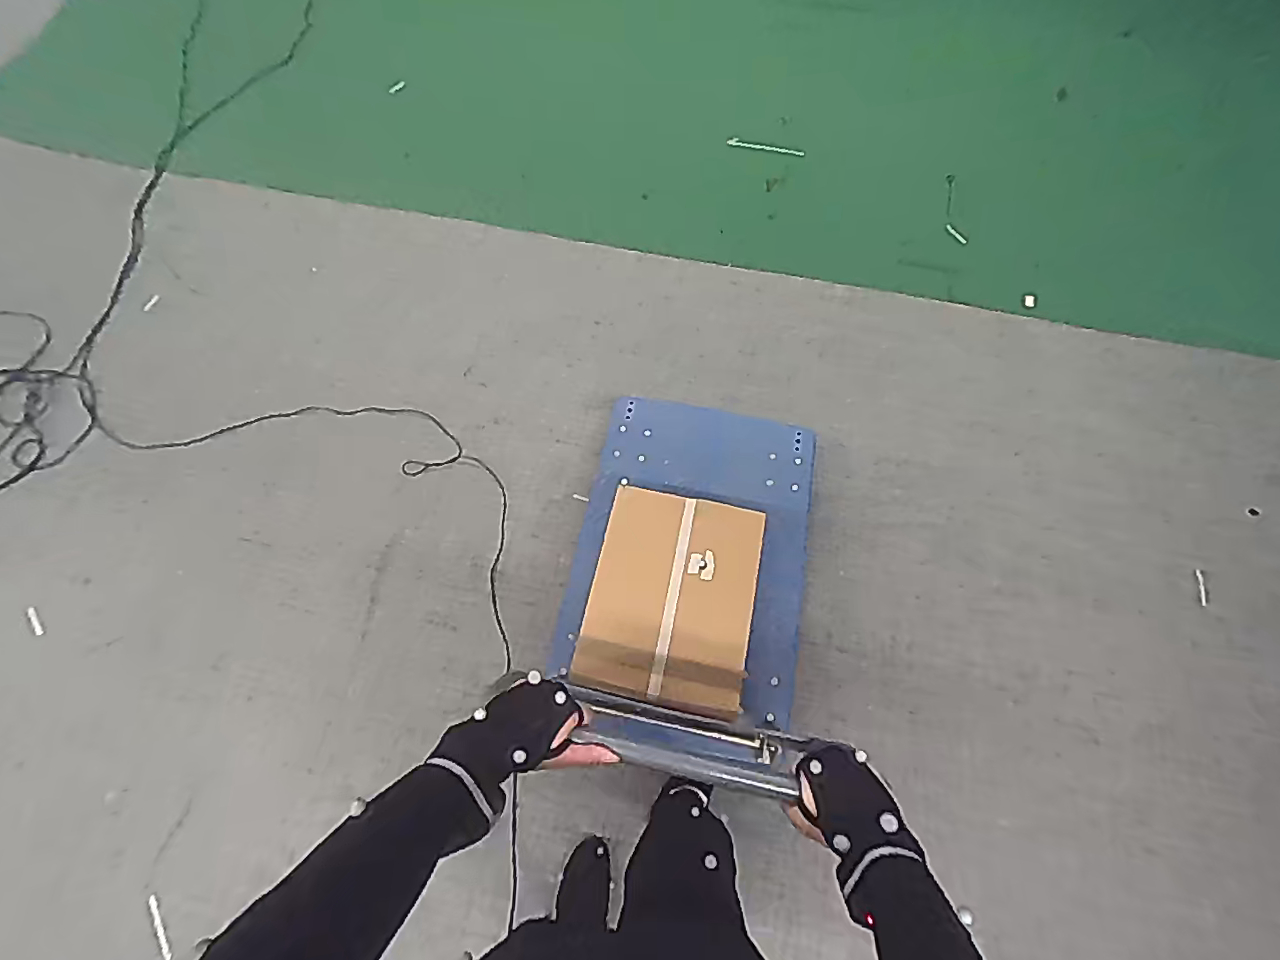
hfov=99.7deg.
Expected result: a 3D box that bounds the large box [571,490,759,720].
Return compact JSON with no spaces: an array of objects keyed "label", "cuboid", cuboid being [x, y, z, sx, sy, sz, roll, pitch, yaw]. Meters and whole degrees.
[{"label":"large box","cuboid":[0.060,0.286,1.190,0.320,0.320,0.408,11,66,5]}]
